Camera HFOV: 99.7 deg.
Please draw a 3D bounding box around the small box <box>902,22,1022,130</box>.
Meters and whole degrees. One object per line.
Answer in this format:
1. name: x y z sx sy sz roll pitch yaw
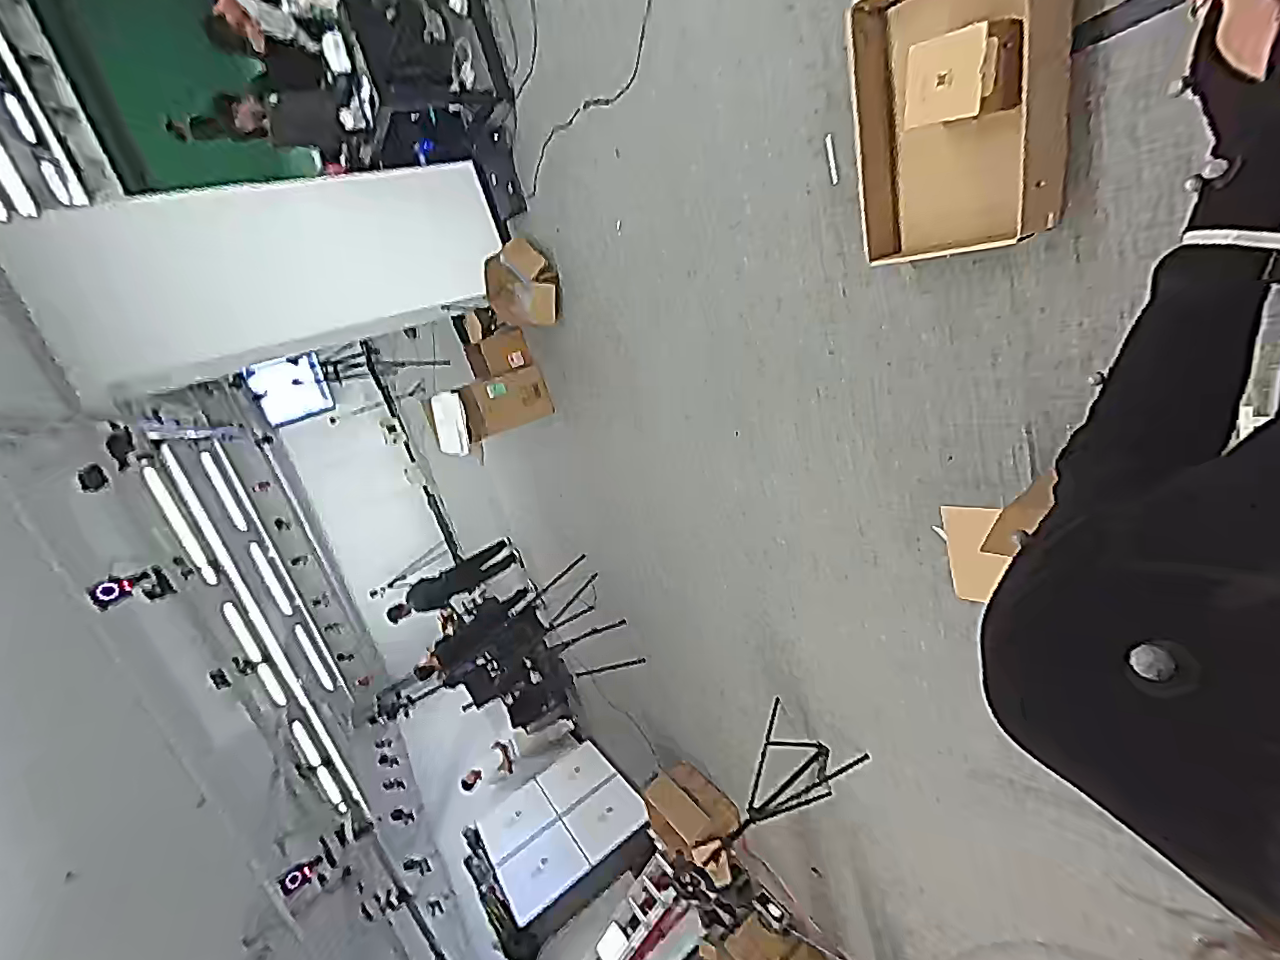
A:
1. small box: 0.727 -0.912 1.226 0.179 0.176 0.168 27 136 49
